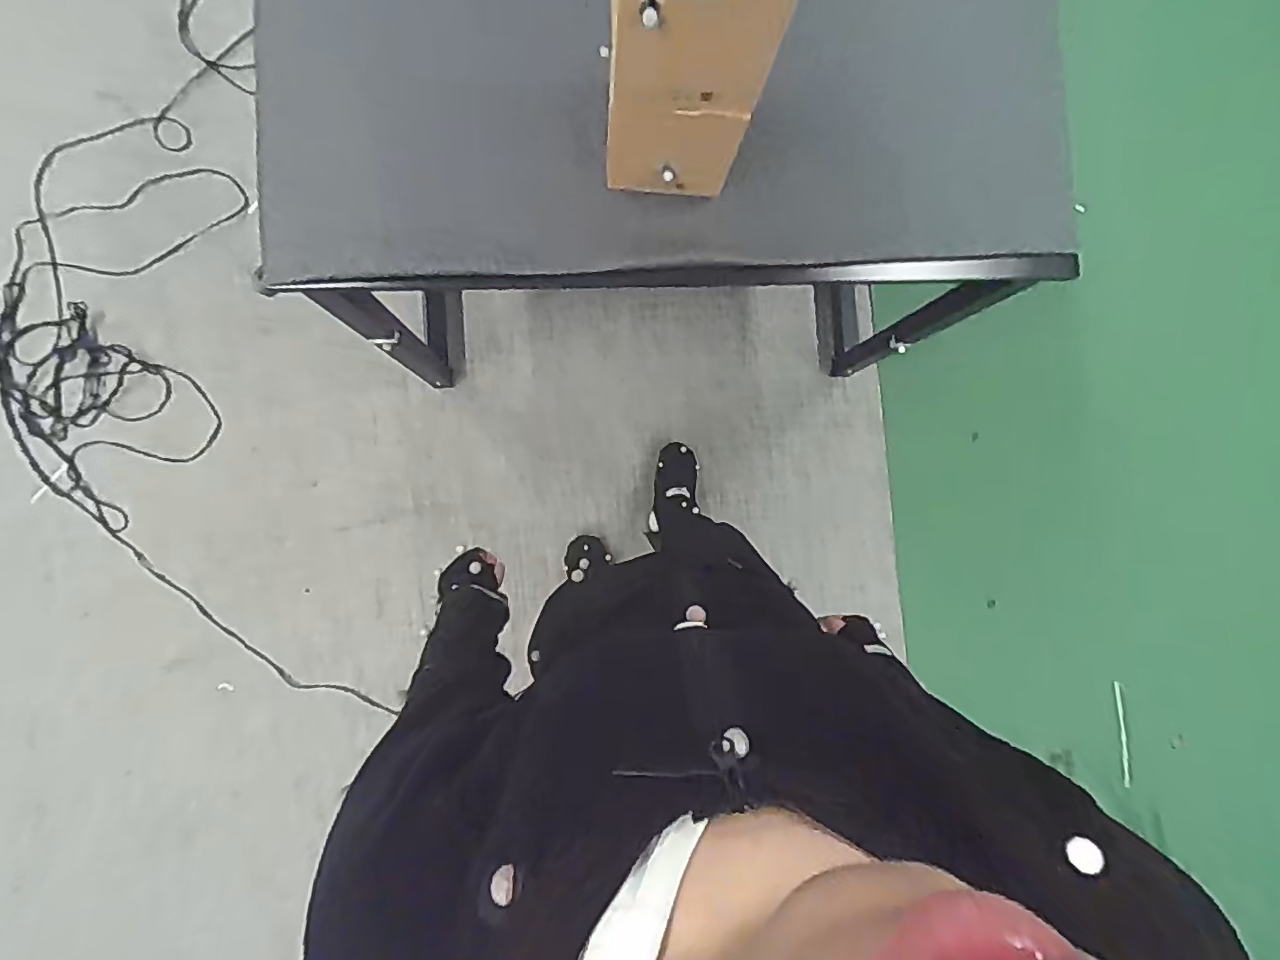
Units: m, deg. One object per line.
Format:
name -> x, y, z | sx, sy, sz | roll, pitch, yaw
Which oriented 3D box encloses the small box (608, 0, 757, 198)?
small box -> 0.046, -0.504, 0.702 | 0.168, 0.176, 0.179 | 2, 86, -5
